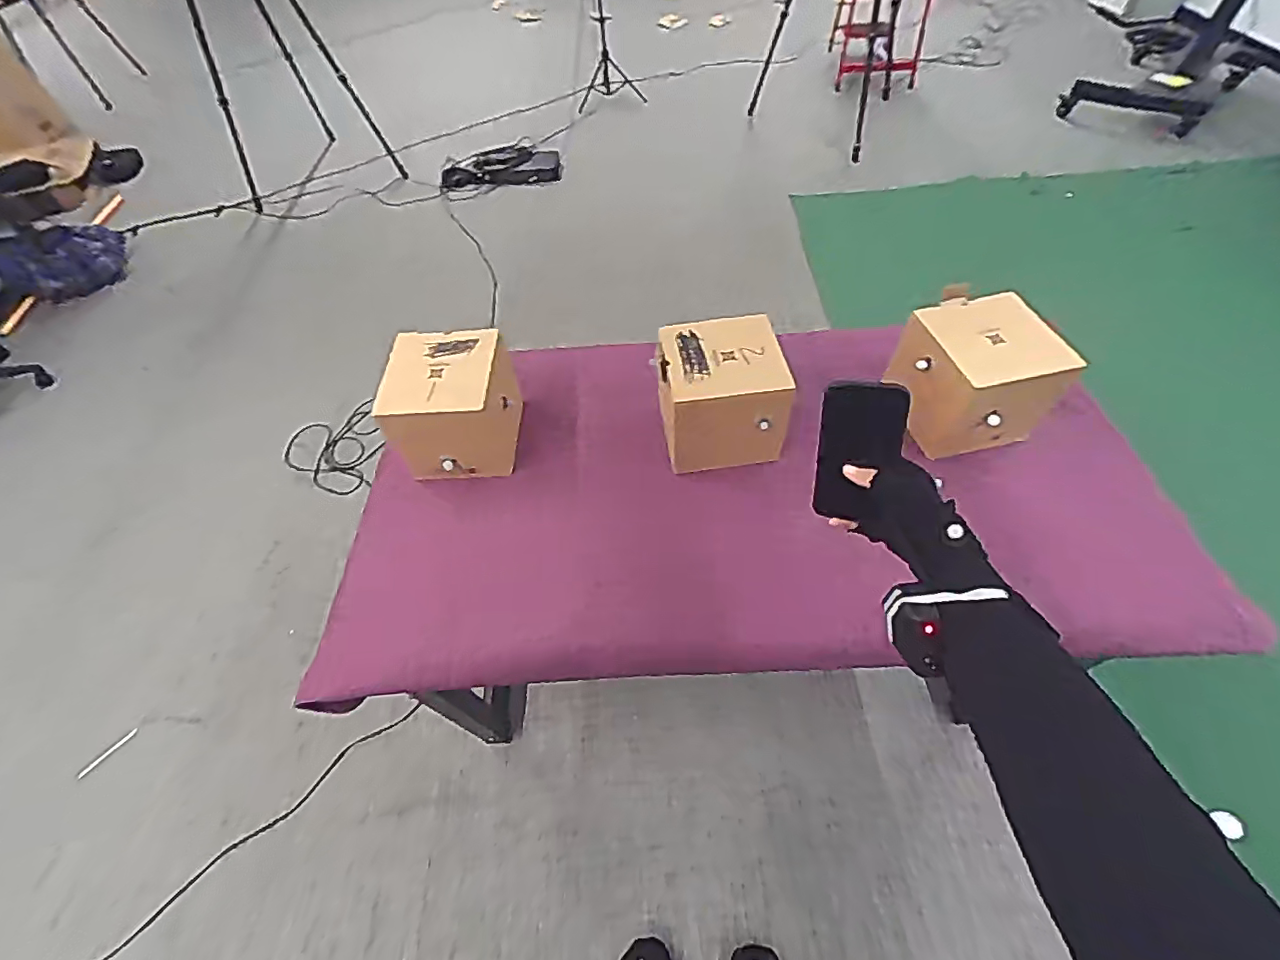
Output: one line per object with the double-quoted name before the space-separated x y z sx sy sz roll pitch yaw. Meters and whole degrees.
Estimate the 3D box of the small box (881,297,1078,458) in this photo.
"small box" 0.511 -0.152 0.847 0.168 0.176 0.179 -12 54 -4

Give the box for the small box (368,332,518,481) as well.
"small box" -0.302 -0.116 0.875 0.168 0.176 0.179 -2 56 2
